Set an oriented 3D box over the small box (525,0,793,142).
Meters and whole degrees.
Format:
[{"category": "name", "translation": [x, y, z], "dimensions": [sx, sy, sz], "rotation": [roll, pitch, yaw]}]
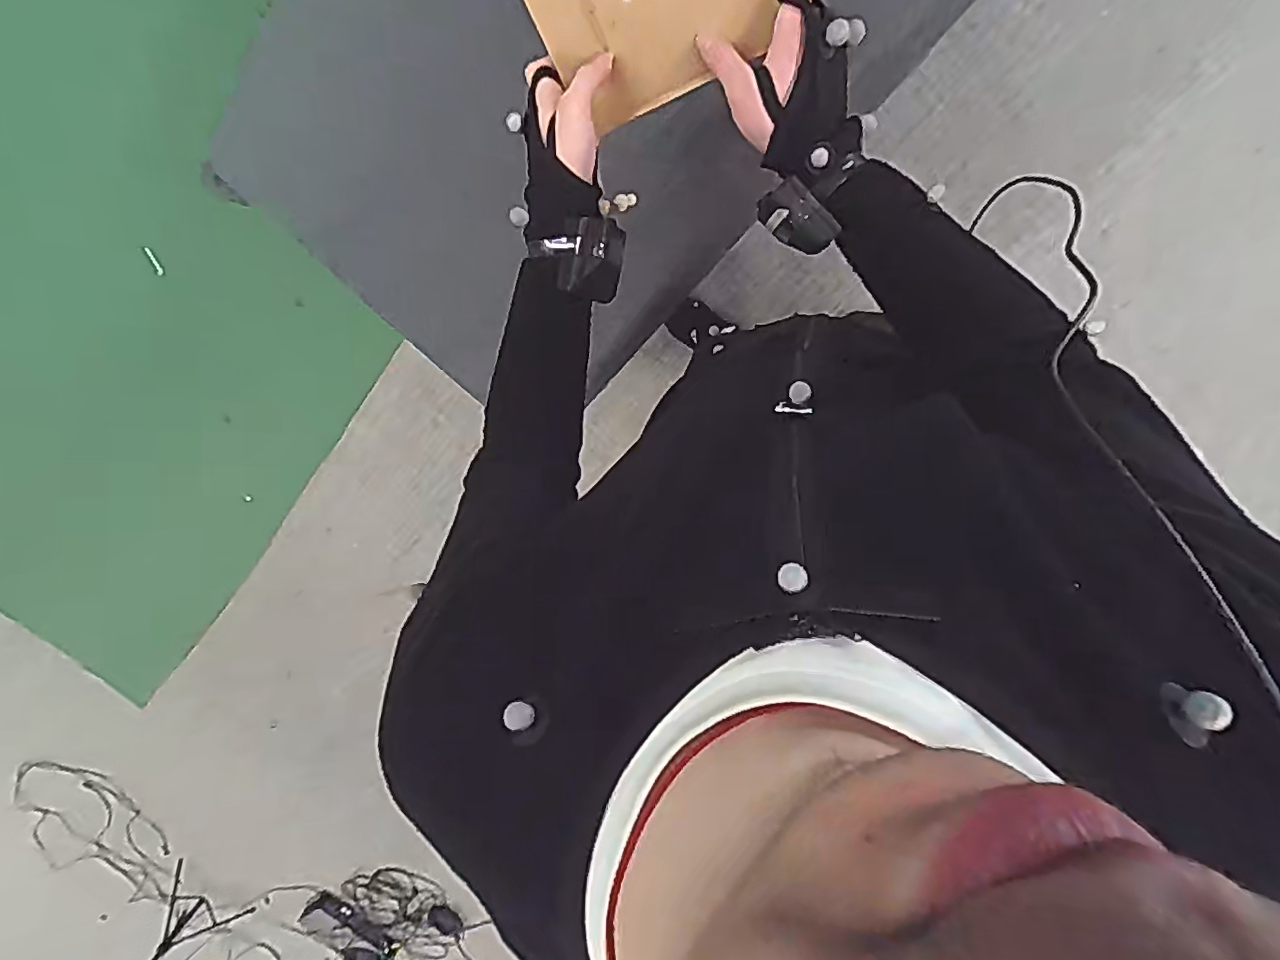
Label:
[{"category": "small box", "translation": [0.016, -0.411, 0.423], "dimensions": [0.179, 0.176, 0.168], "rotation": [-8, 135, 26]}]
